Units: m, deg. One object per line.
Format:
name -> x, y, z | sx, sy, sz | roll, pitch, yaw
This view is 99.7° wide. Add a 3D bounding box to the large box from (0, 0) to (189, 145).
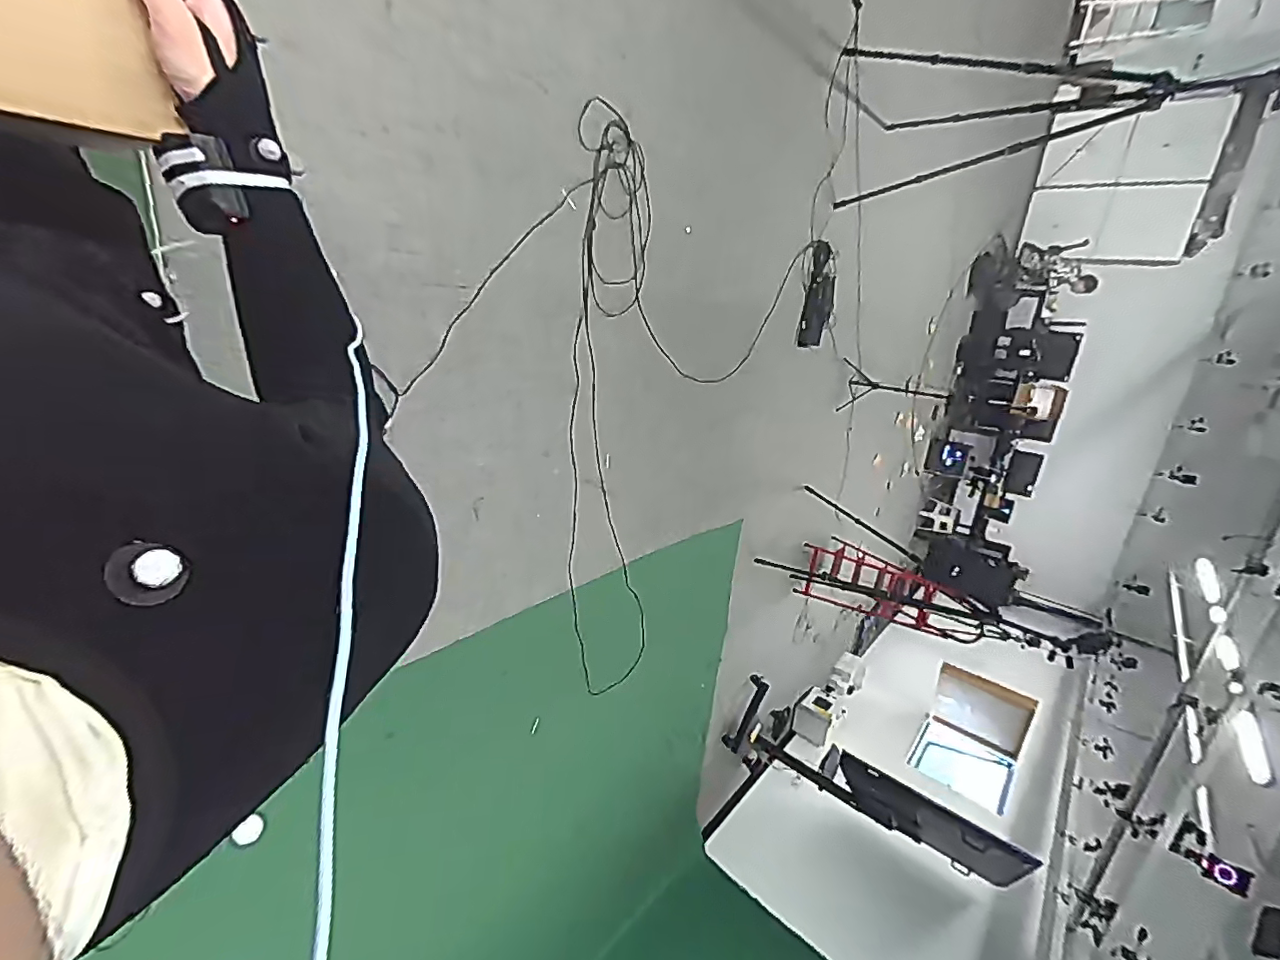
large box -> -0.591, -0.426, 0.326 | 0.408, 0.320, 0.320 | -18, 123, -47
